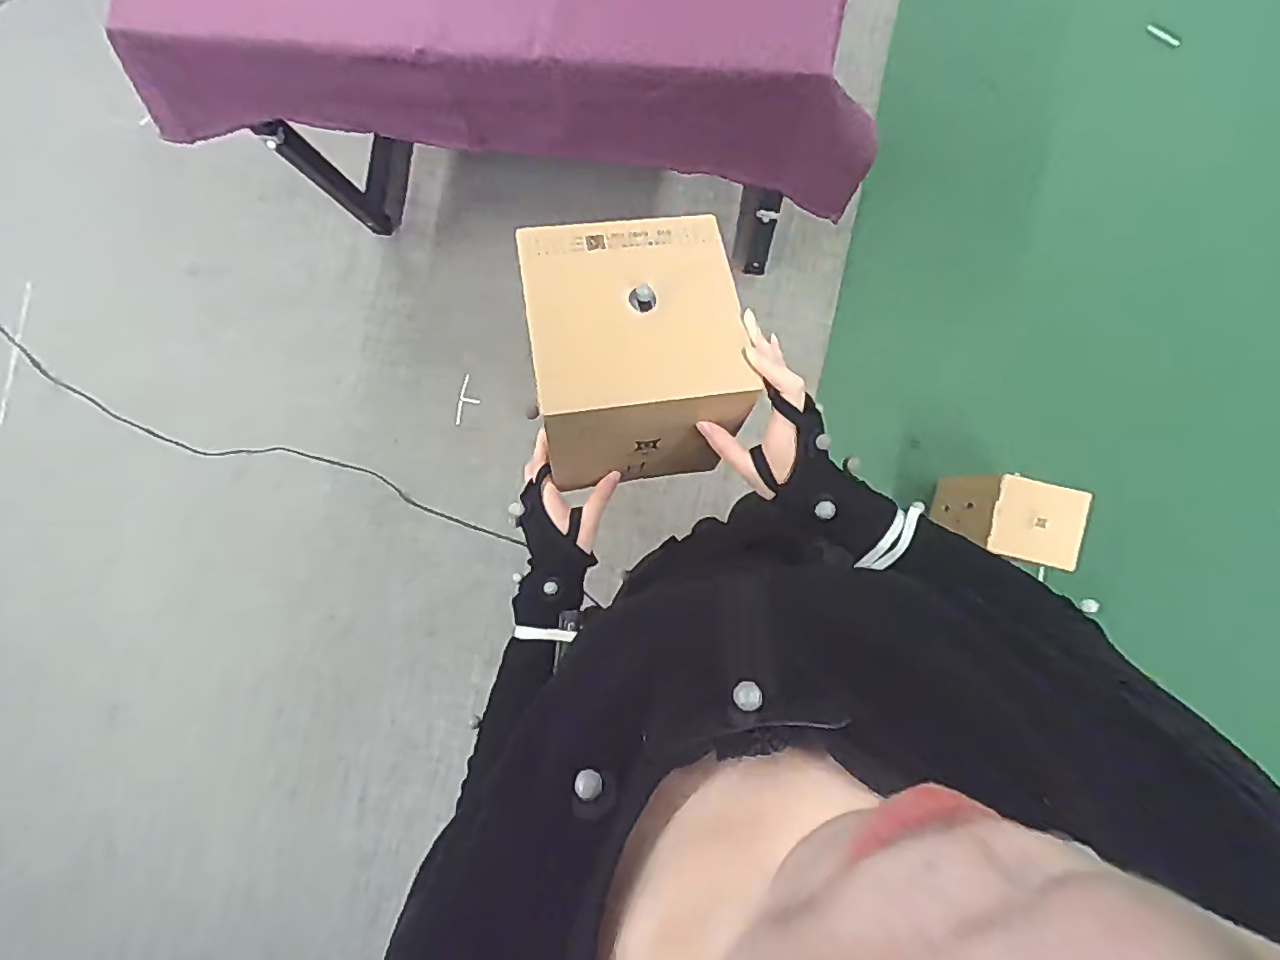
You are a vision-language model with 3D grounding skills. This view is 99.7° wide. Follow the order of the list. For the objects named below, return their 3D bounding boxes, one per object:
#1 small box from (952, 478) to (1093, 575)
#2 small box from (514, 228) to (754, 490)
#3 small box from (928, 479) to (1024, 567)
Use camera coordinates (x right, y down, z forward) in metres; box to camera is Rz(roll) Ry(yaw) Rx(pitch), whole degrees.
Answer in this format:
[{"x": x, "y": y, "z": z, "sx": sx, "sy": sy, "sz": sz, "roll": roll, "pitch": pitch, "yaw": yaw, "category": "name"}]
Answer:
[{"x": 0.823, "y": 0.097, "z": 1.180, "sx": 0.179, "sy": 0.176, "sz": 0.168, "roll": 14, "pitch": 88, "yaw": 7, "category": "small box"}, {"x": -0.017, "y": -0.106, "z": 0.492, "sx": 0.168, "sy": 0.179, "sz": 0.176, "roll": -8, "pitch": 71, "yaw": -9, "category": "small box"}, {"x": 0.843, "y": 0.105, "z": 1.341, "sx": 0.168, "sy": 0.176, "sz": 0.179, "roll": 14, "pitch": 87, "yaw": 7, "category": "small box"}]
